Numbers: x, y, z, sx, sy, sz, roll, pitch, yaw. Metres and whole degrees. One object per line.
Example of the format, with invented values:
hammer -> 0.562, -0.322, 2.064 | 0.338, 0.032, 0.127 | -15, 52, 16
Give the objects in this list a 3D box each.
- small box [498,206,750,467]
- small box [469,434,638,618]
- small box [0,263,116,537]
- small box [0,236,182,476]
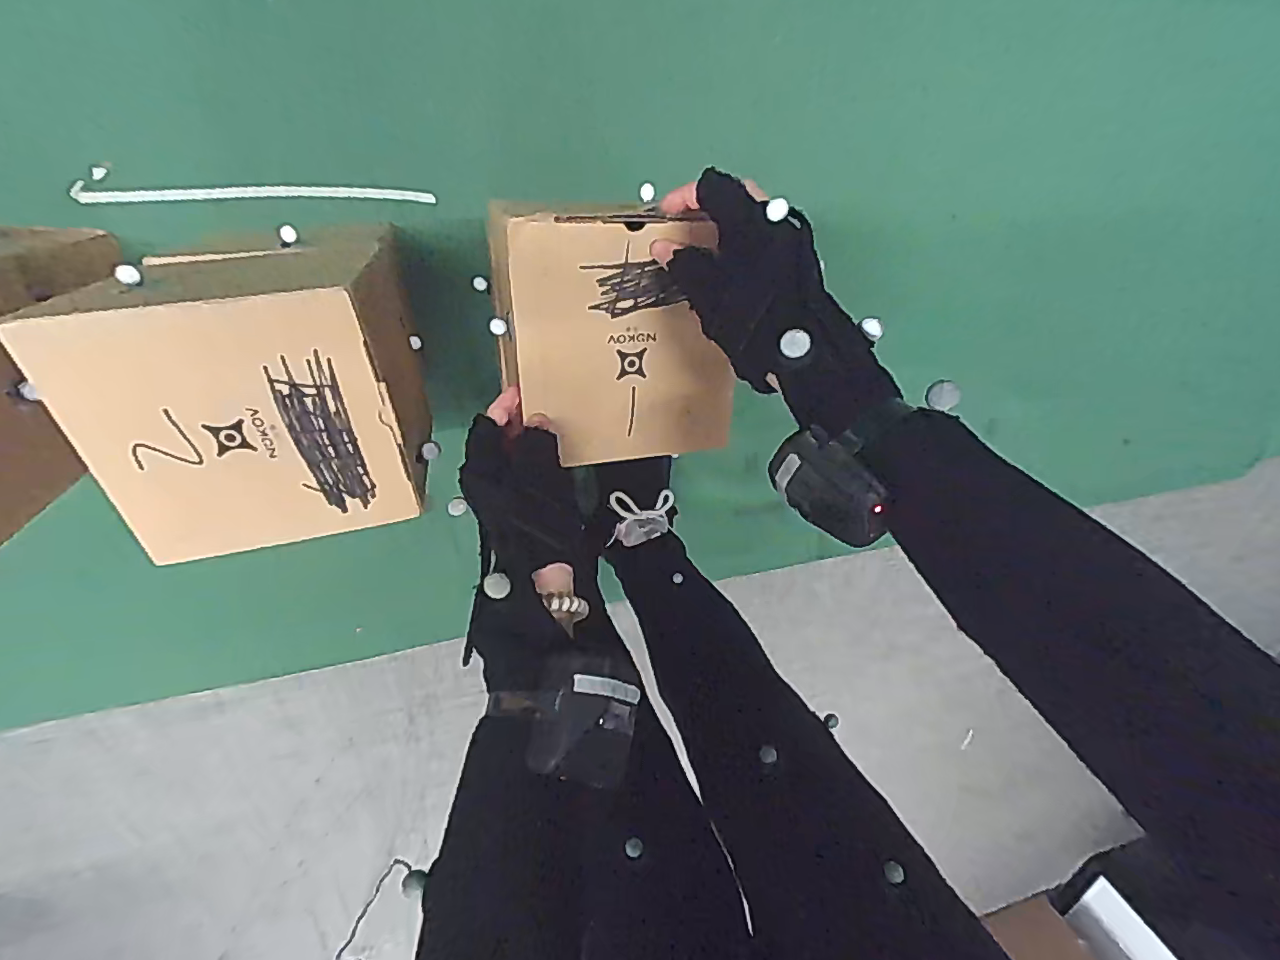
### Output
small box -> -0.025, -0.132, 0.458 | 0.168, 0.176, 0.179 | -7, 121, -14
small box -> -0.119, 0.056, 0.753 | 0.179, 0.176, 0.168 | 29, 118, -10
small box -> -0.514, -0.045, 0.349 | 0.179, 0.176, 0.168 | -5, 120, -15
small box -> -0.566, -0.115, 0.489 | 0.168, 0.176, 0.179 | -4, 120, -15
